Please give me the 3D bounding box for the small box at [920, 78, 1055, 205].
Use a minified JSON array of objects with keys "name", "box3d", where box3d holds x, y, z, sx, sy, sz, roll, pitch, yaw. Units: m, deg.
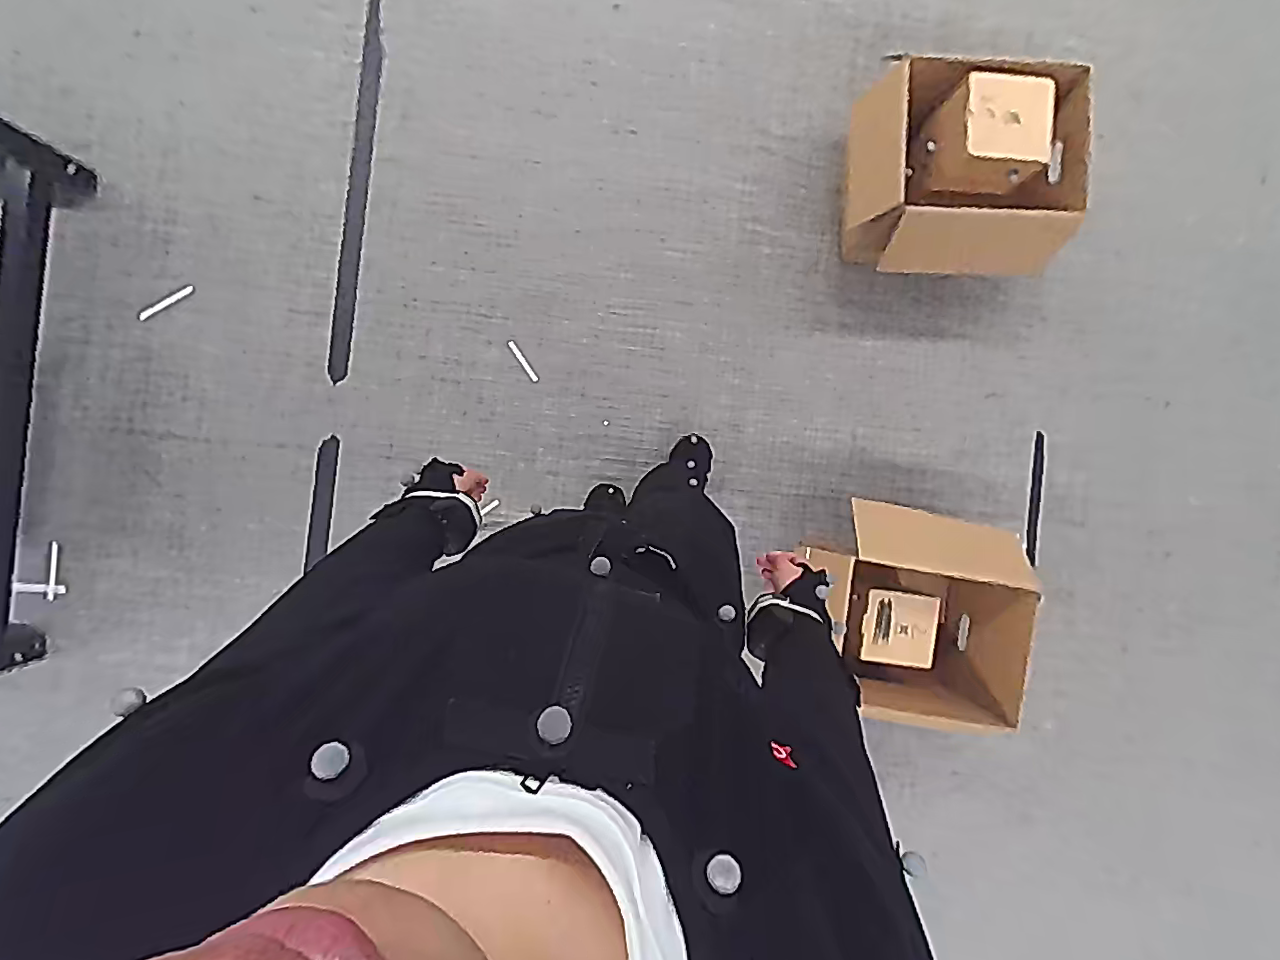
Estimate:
[{"name":"small box","box3d":[0.736,-0.713,1.159,0.179,0.176,0.168,3,90,-3]}]
